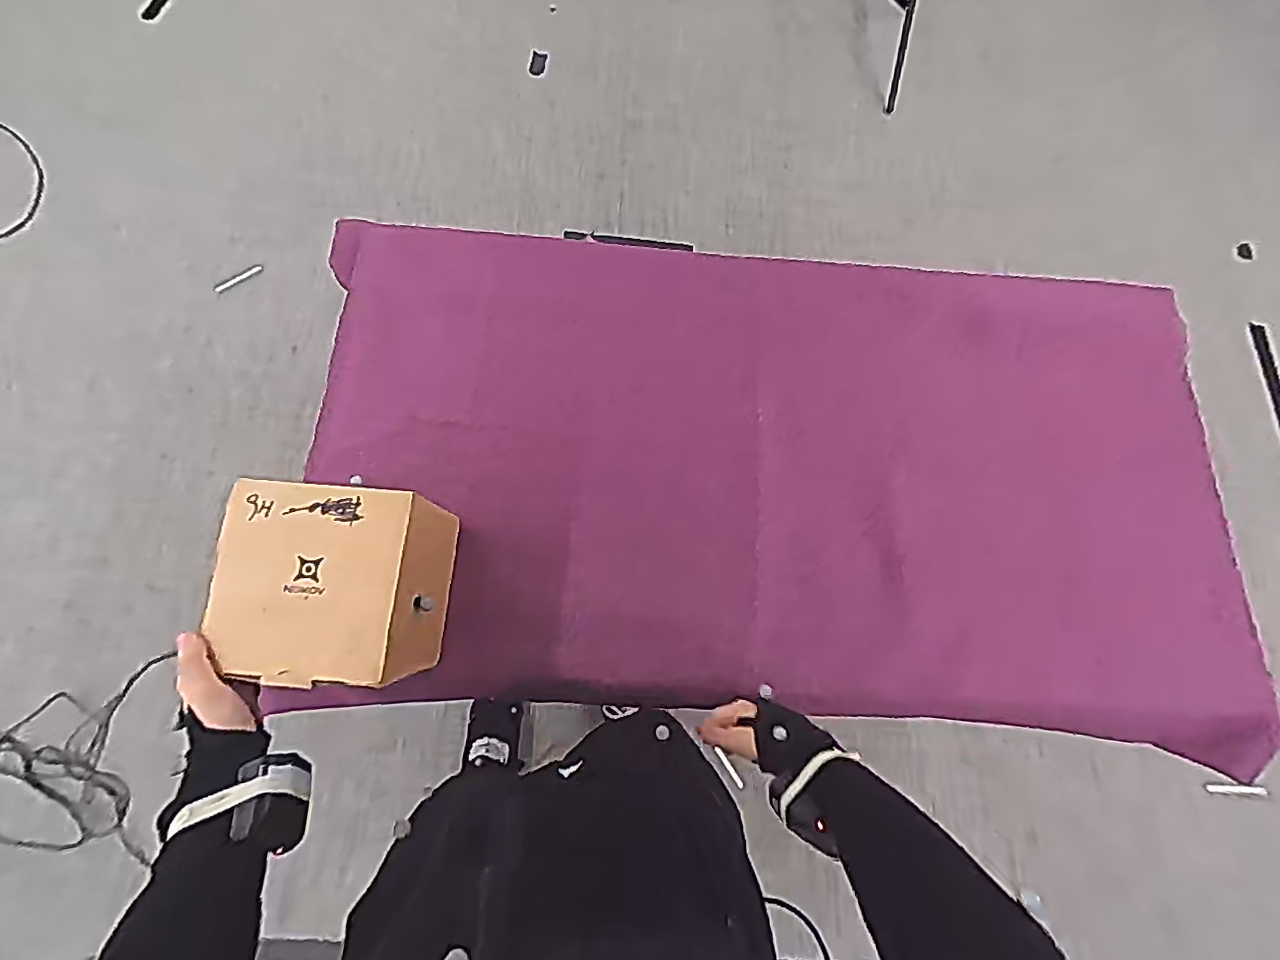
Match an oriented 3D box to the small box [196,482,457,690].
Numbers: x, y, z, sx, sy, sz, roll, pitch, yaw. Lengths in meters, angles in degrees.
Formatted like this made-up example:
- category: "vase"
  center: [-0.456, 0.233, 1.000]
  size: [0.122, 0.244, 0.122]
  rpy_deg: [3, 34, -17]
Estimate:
- category: "small box"
  center: [-0.304, 0.109, 0.567]
  size: [0.168, 0.176, 0.179]
  rpy_deg: [5, 78, -3]
